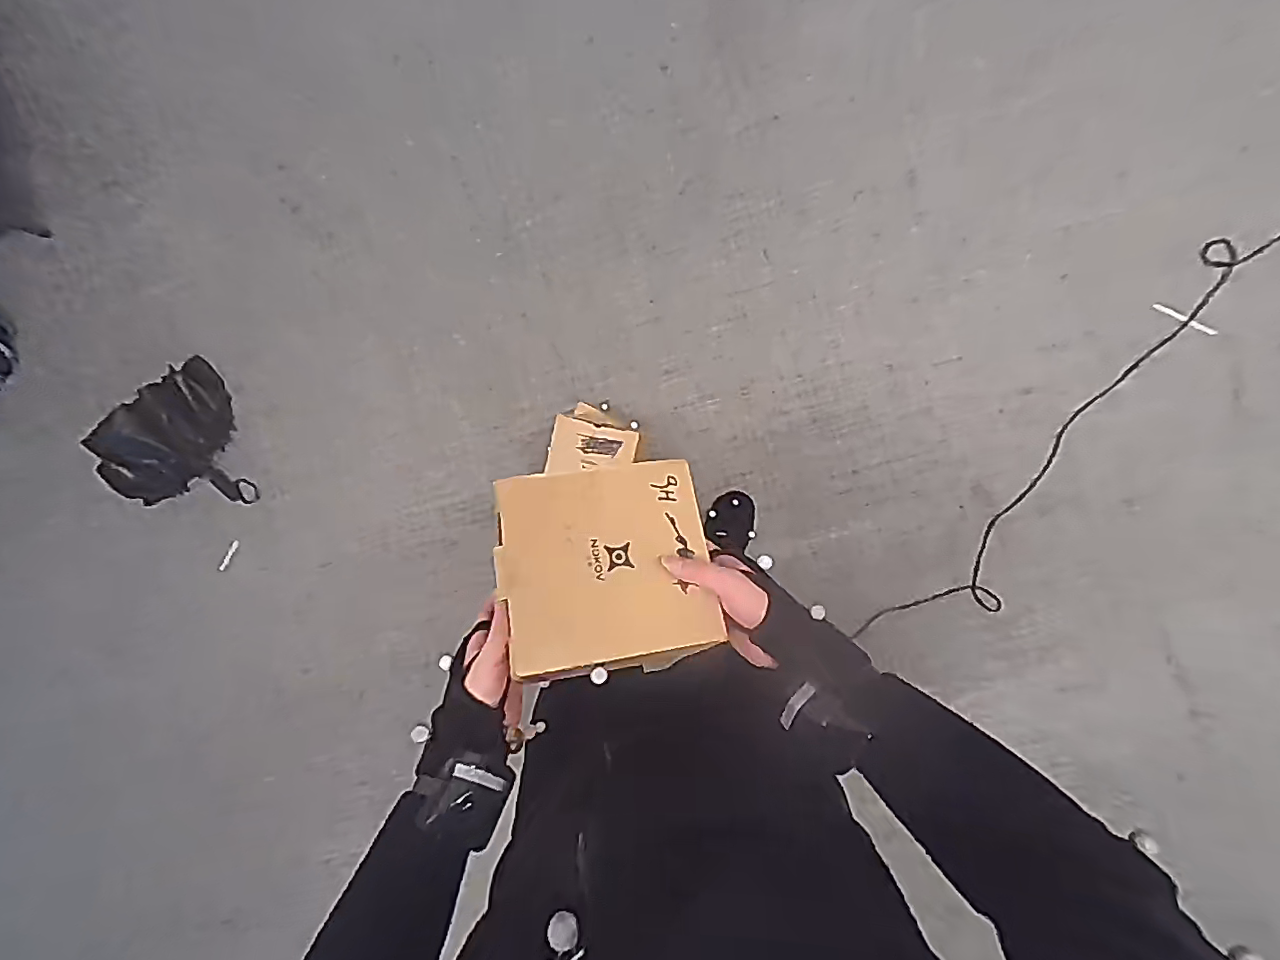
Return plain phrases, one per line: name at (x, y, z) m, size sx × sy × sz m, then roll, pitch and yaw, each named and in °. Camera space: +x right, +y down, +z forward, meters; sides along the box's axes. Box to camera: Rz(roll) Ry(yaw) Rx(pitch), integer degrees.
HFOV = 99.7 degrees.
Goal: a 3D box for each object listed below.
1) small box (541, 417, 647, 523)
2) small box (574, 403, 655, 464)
small box at (-0.086, -0.028, 1.113) m, size 0.168 × 0.176 × 0.179 m, roll 14°, pitch 98°, yaw 6°
small box at (-0.078, -0.067, 1.275) m, size 0.179 × 0.176 × 0.168 m, roll 26°, pitch 98°, yaw 3°
